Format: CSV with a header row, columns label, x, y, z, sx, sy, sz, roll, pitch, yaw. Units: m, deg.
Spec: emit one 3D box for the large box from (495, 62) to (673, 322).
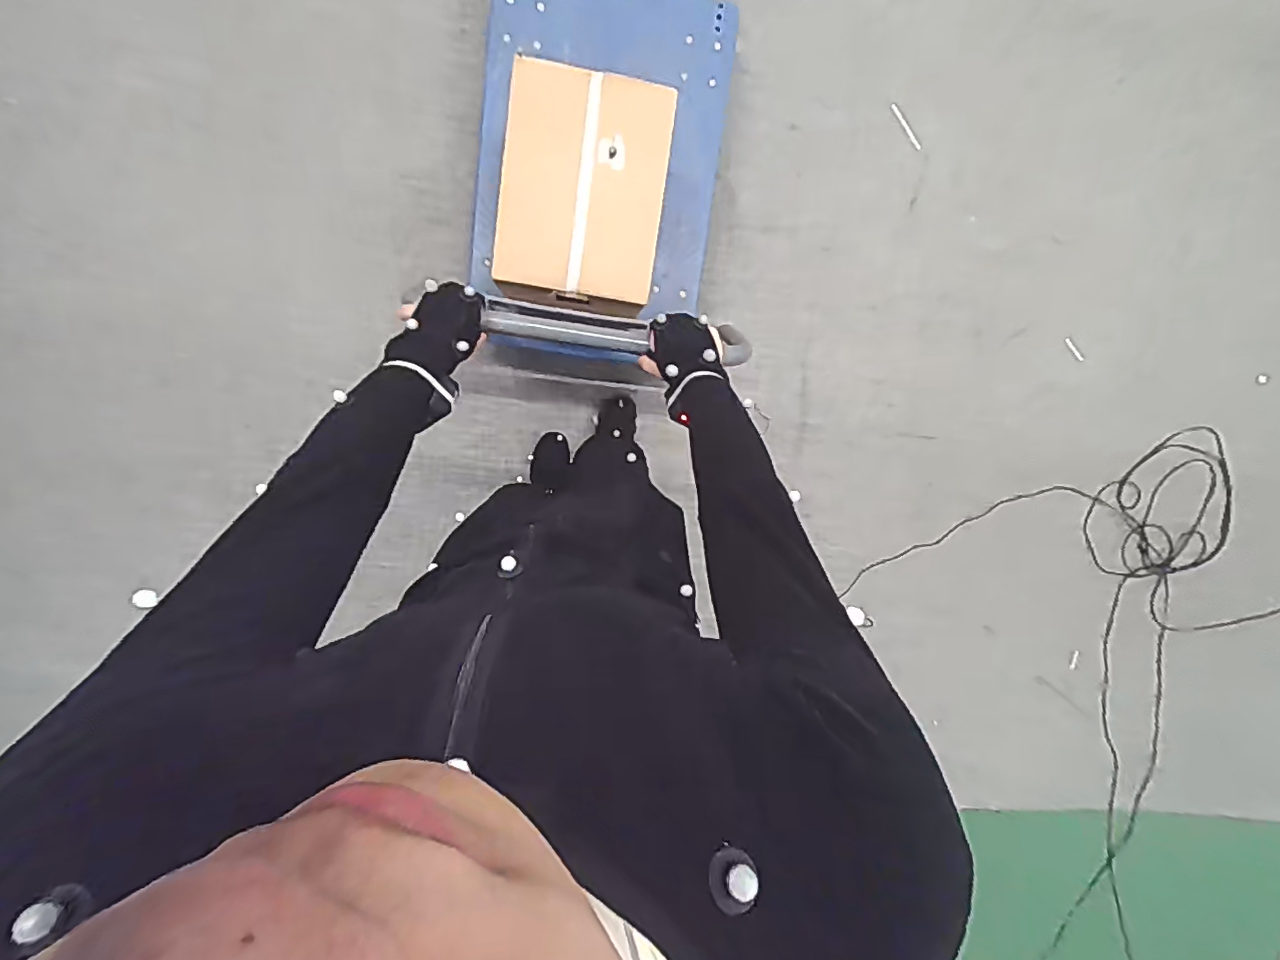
label,x,y,z,sx,sy,sz,roll,pitch,yaw
large box,-0.124,-0.594,1.203,0.320,0.320,0.408,7,97,-8
